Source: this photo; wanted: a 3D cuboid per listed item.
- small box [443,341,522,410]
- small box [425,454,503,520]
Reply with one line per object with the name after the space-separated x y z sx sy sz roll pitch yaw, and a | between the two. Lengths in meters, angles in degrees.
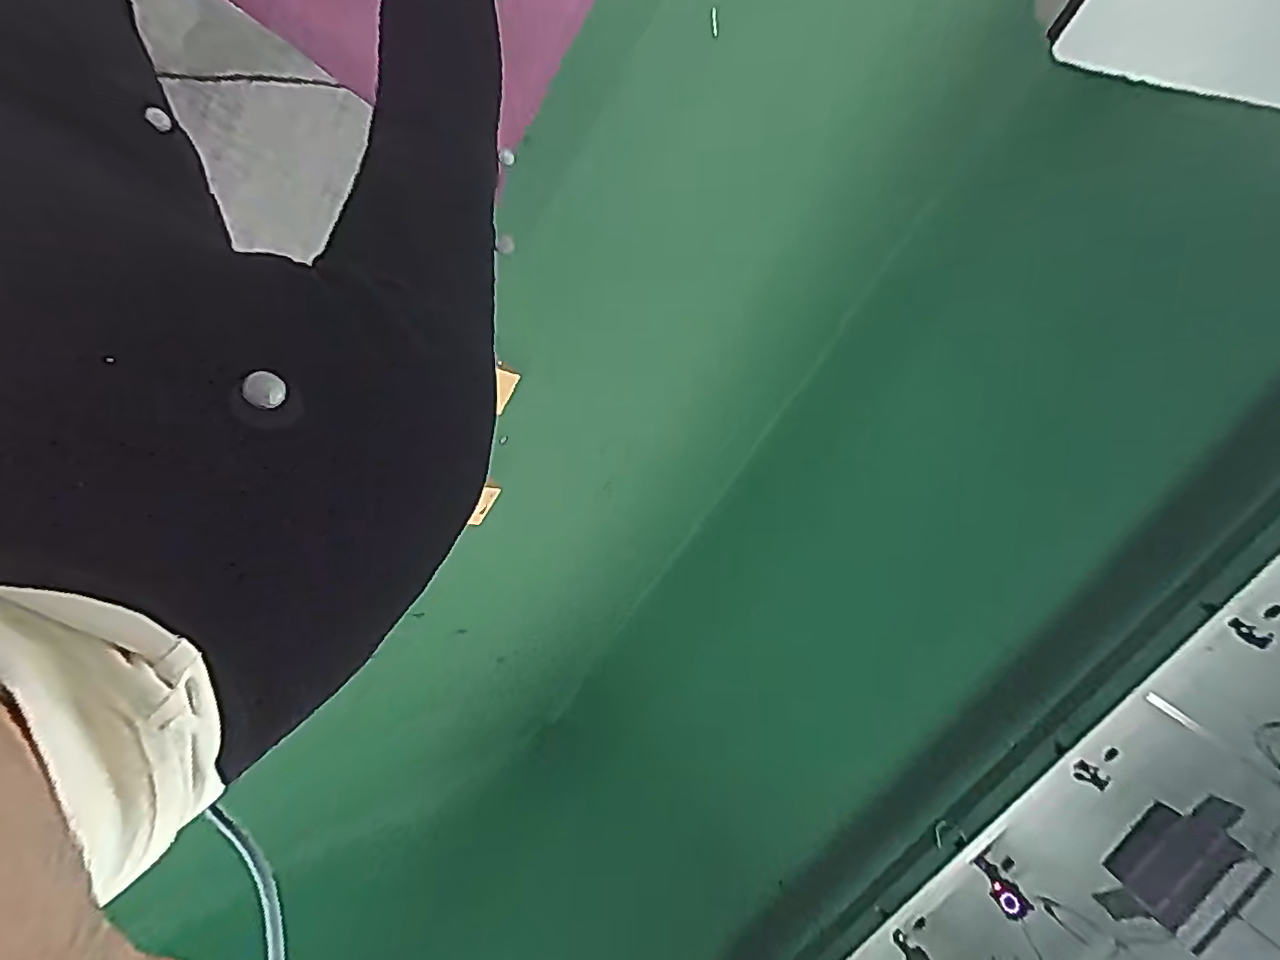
-0.563 -0.373 1.917 0.179 0.176 0.168 6 121 -57 | small box
-0.640 0.024 1.951 0.168 0.176 0.179 -54 149 13 | small box
